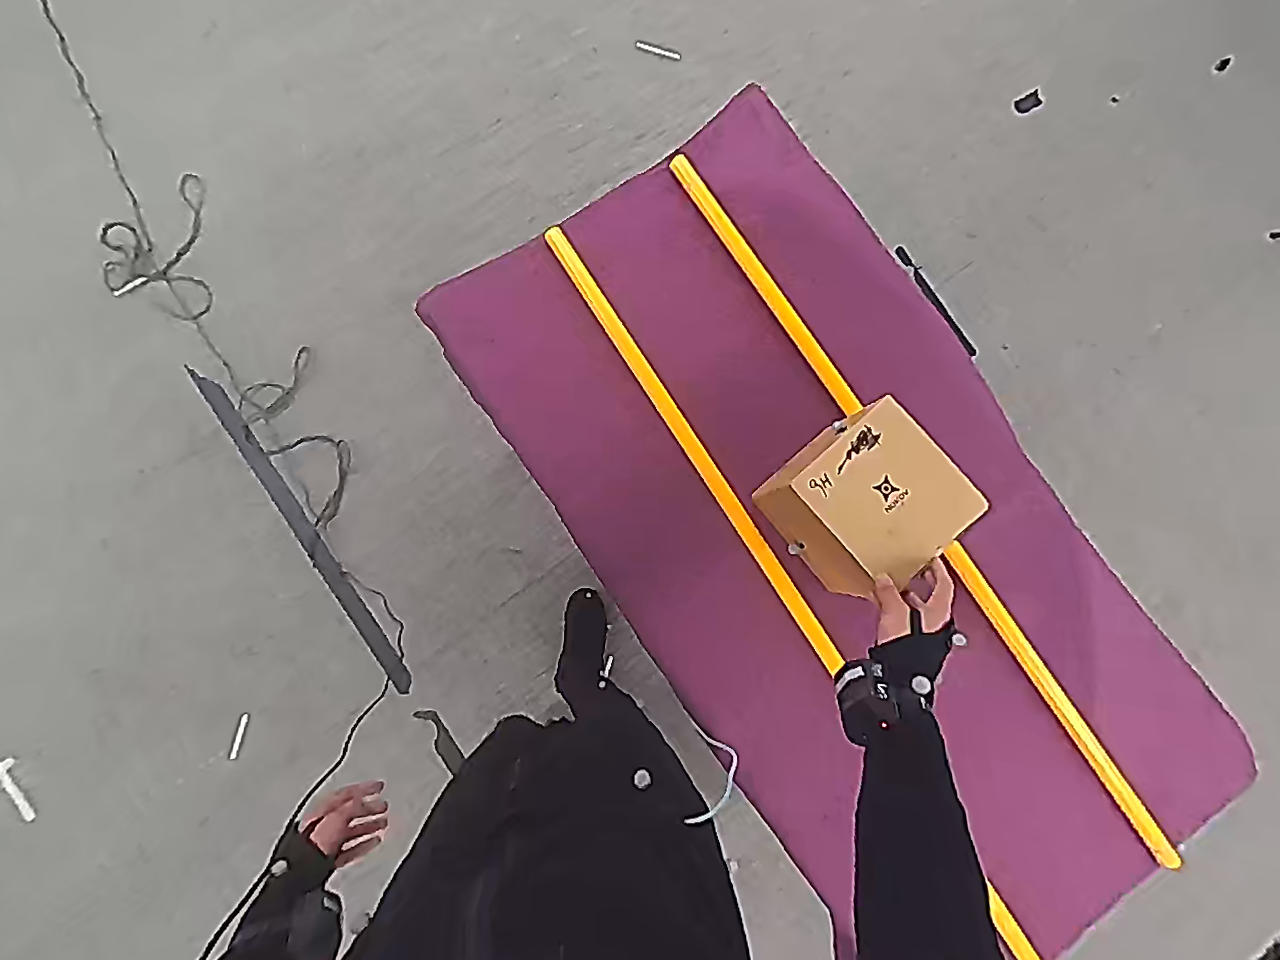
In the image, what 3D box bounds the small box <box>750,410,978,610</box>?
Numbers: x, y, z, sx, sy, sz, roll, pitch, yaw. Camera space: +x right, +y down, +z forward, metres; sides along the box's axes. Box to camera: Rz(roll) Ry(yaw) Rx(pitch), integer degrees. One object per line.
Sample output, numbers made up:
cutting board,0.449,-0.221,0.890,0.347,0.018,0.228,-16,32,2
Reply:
small box,0.273,0.039,0.700,0.168,0.176,0.179,-40,88,-7
